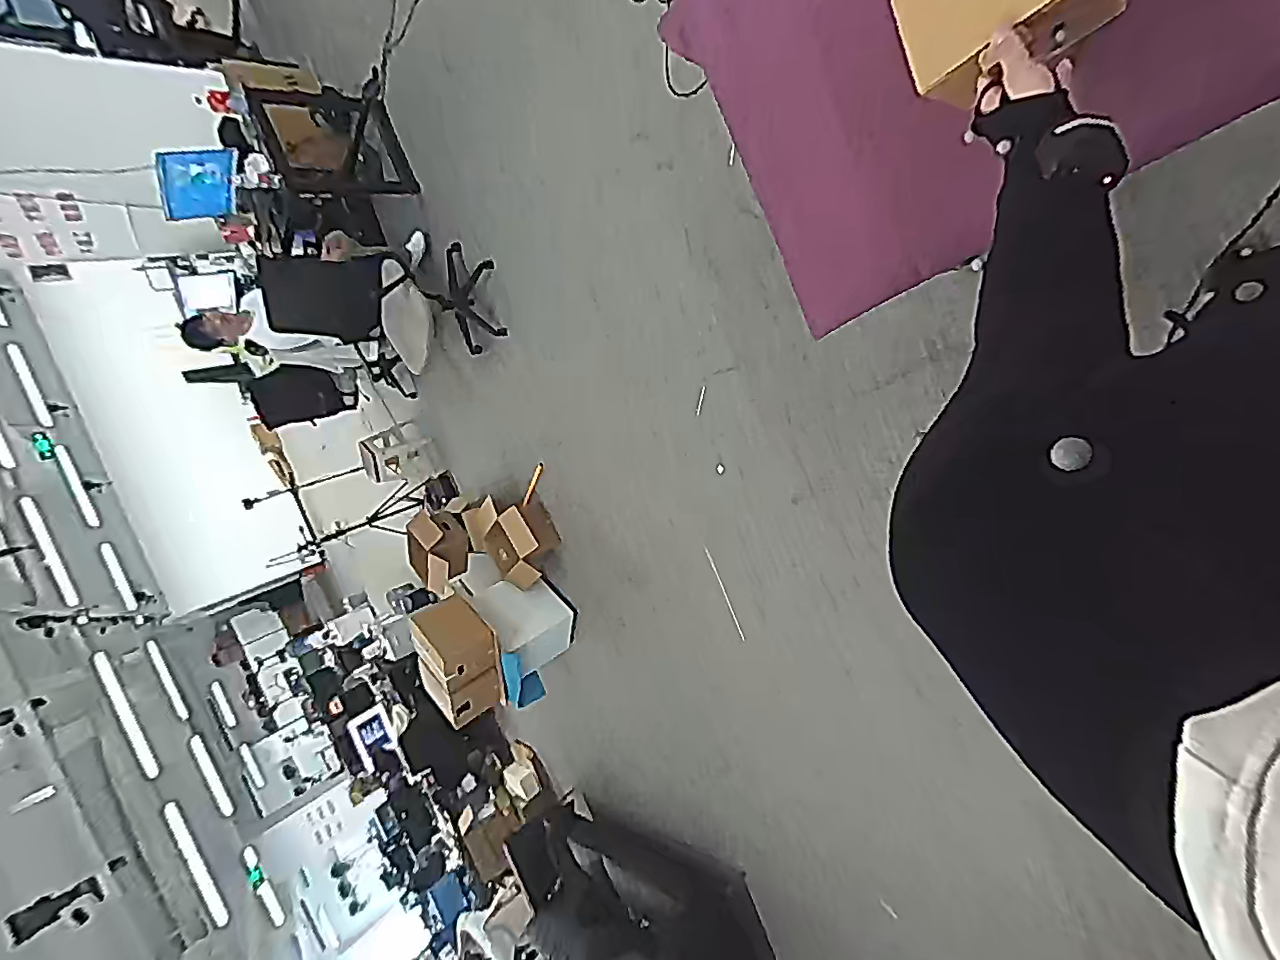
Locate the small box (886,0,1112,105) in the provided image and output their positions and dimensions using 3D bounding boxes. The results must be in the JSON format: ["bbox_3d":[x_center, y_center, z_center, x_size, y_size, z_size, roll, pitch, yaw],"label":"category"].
[{"bbox_3d":[0.400,-0.562,0.612,0.168,0.176,0.179,-15,97,50],"label":"small box"}]
